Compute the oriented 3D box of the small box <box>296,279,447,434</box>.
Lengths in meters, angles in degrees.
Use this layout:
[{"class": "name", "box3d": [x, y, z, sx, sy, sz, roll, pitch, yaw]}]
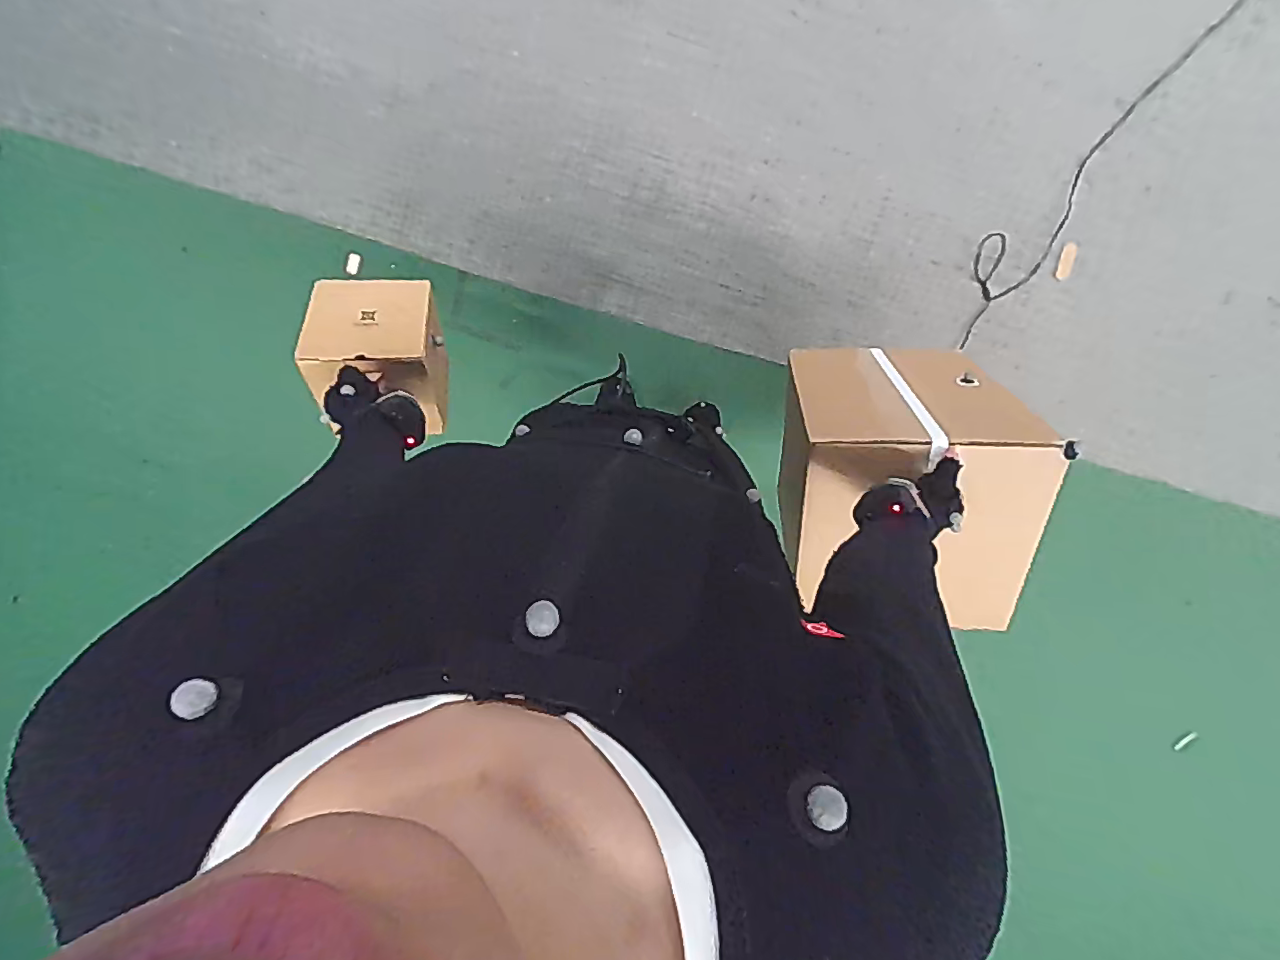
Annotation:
[{"class": "small box", "box3d": [-0.406, -0.192, 0.854, 0.168, 0.176, 0.179, -3, 56, -11]}]
